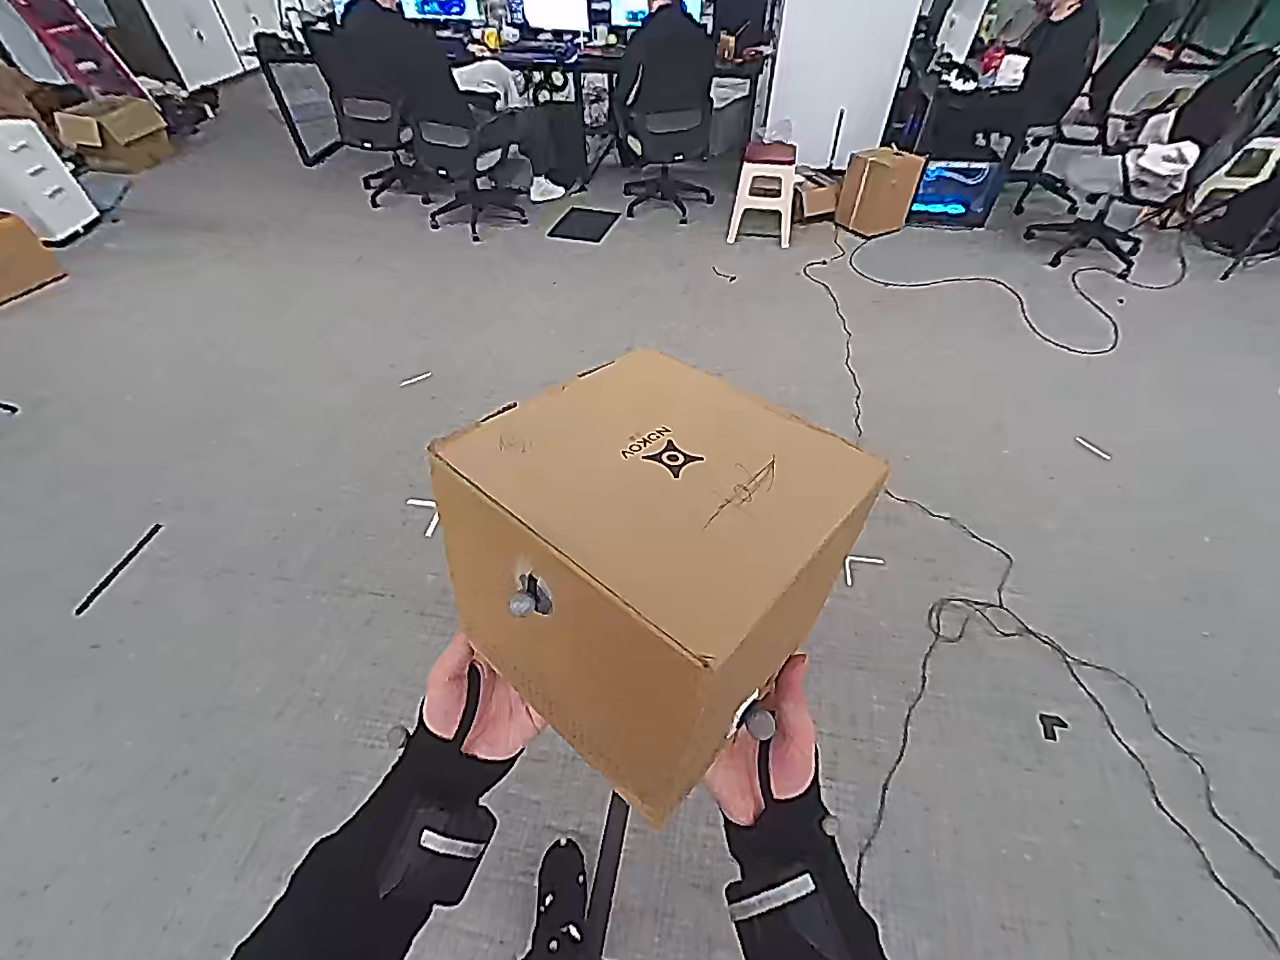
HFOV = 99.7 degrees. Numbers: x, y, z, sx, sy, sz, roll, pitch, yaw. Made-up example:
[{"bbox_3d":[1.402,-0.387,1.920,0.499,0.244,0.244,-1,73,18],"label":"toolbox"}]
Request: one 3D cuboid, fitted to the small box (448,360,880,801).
[{"bbox_3d":[0.008,0.053,0.337,0.179,0.176,0.168,32,47,26],"label":"small box"}]
